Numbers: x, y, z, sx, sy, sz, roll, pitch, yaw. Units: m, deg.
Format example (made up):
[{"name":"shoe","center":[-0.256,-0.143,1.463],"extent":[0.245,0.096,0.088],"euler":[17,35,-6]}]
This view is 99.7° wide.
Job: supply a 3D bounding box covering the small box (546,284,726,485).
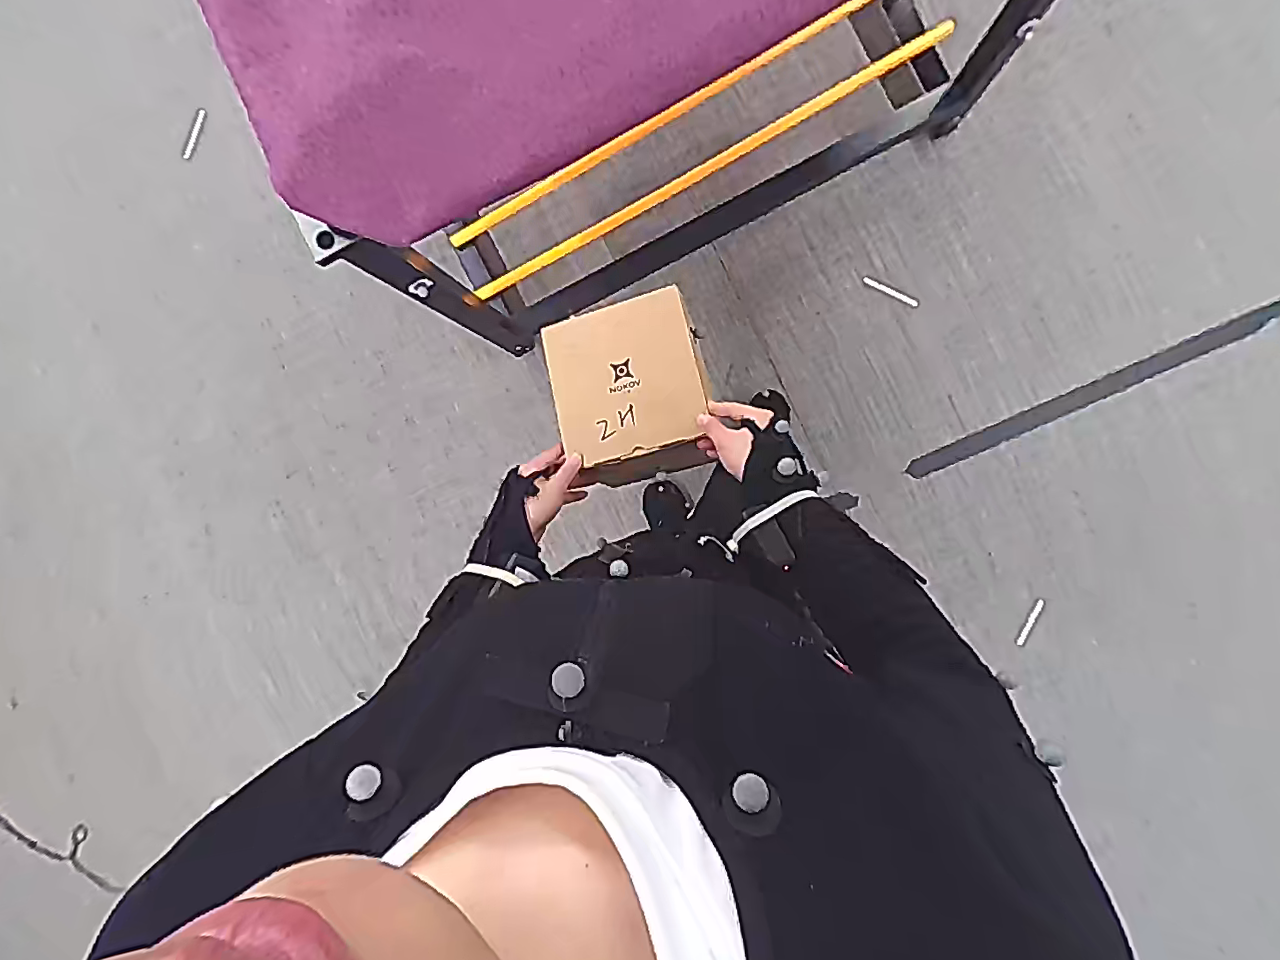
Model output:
[{"name":"small box","center":[0.004,-0.102,0.659],"extent":[0.168,0.176,0.179],"euler":[-13,81,12]}]
